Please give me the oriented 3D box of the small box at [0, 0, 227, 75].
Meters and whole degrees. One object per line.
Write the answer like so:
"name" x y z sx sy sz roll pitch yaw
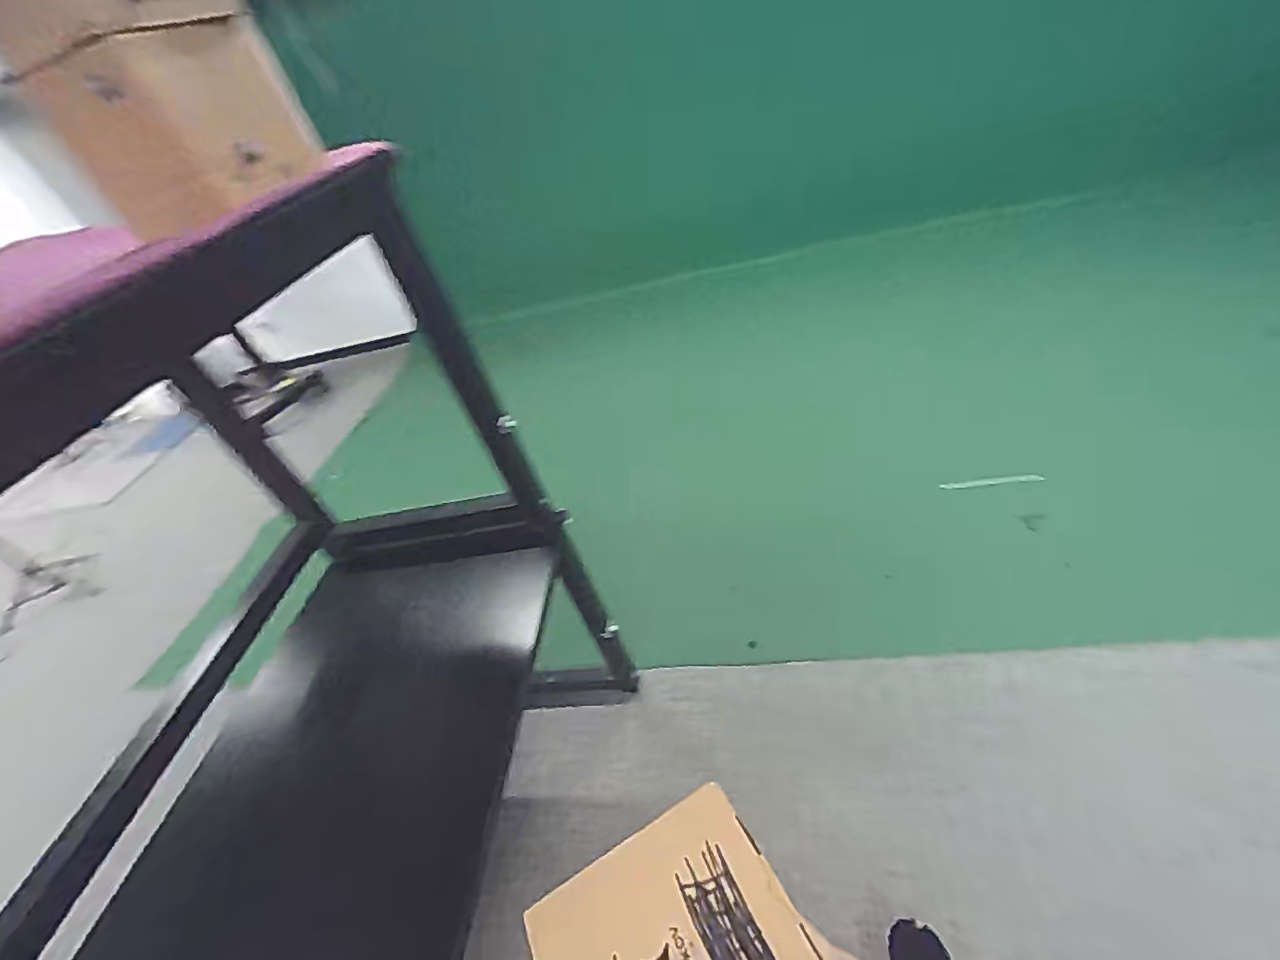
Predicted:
"small box" -0.555 -0.503 0.505 0.179 0.176 0.168 3 46 21

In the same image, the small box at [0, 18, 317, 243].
"small box" -0.524 -0.384 0.611 0.179 0.176 0.168 0 44 19
